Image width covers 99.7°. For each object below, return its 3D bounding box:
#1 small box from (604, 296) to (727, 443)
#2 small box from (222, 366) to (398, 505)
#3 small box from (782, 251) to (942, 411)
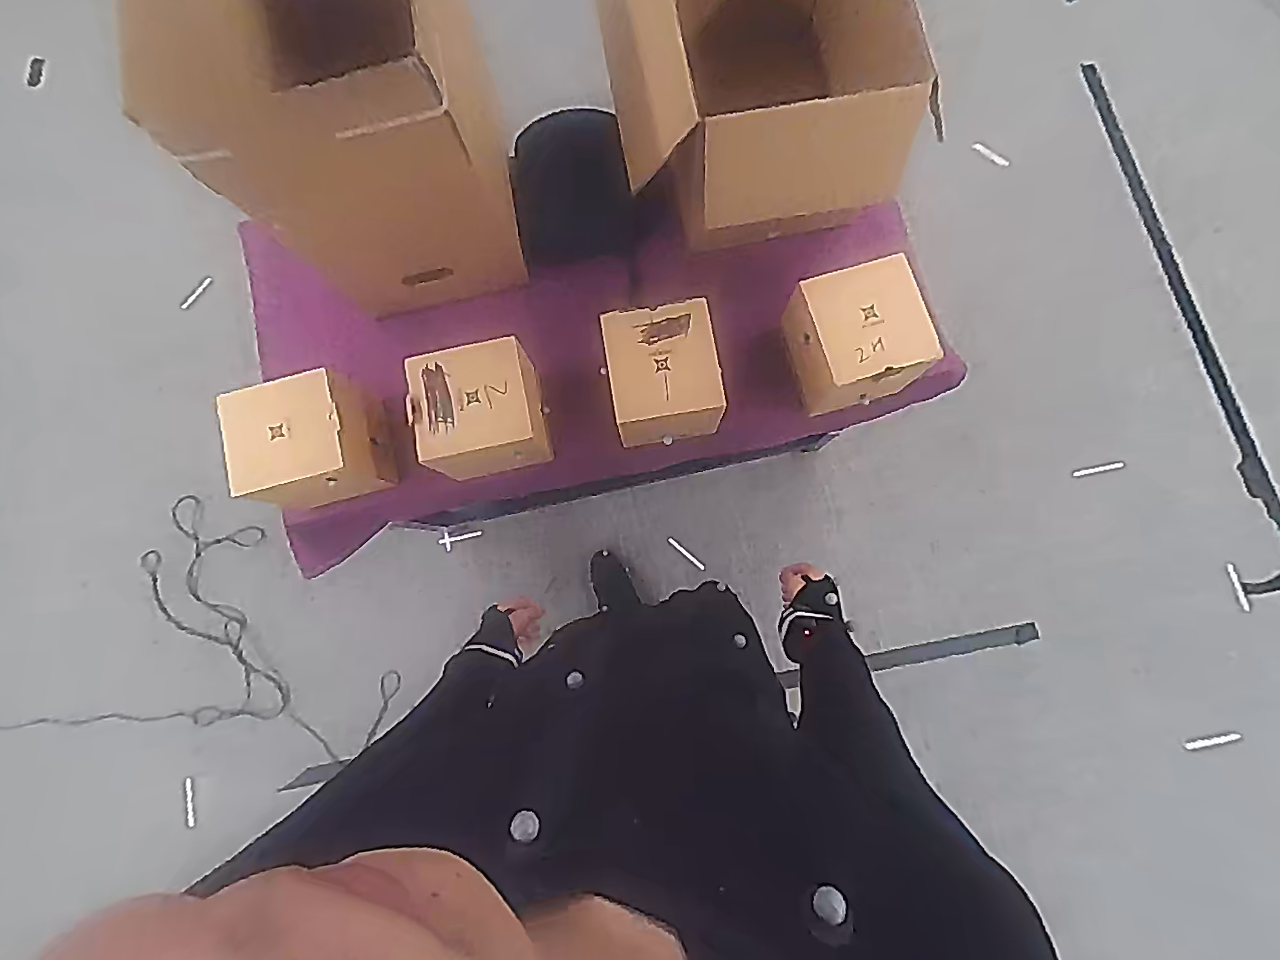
[{"bbox_3d":[0.038,-0.171,0.884,0.168,0.176,0.179,-9,82,1],"label":"small box"},{"bbox_3d":[-0.533,-0.064,0.892,0.179,0.176,0.168,-15,81,-1],"label":"small box"},{"bbox_3d":[0.345,-0.233,0.880,0.168,0.176,0.179,-15,81,1],"label":"small box"}]
